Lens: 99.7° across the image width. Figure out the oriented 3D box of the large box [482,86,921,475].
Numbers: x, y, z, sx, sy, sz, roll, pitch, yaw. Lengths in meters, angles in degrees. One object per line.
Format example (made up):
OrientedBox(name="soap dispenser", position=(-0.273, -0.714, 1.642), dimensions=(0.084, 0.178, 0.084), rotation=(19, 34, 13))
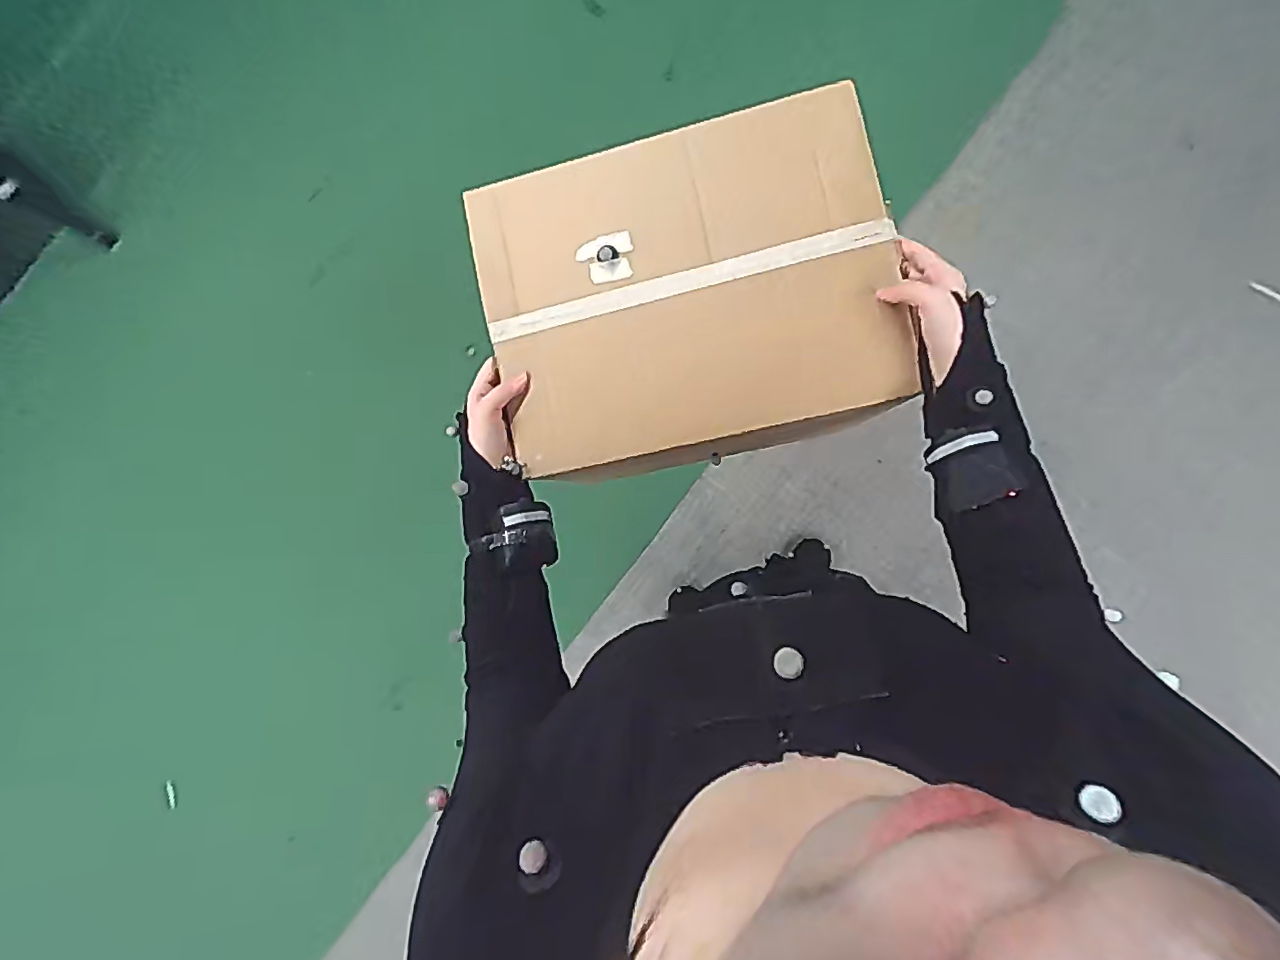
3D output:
OrientedBox(name="large box", position=(0.073, -0.195, 0.696), dimensions=(0.408, 0.320, 0.320), rotation=(-12, 87, 9))
